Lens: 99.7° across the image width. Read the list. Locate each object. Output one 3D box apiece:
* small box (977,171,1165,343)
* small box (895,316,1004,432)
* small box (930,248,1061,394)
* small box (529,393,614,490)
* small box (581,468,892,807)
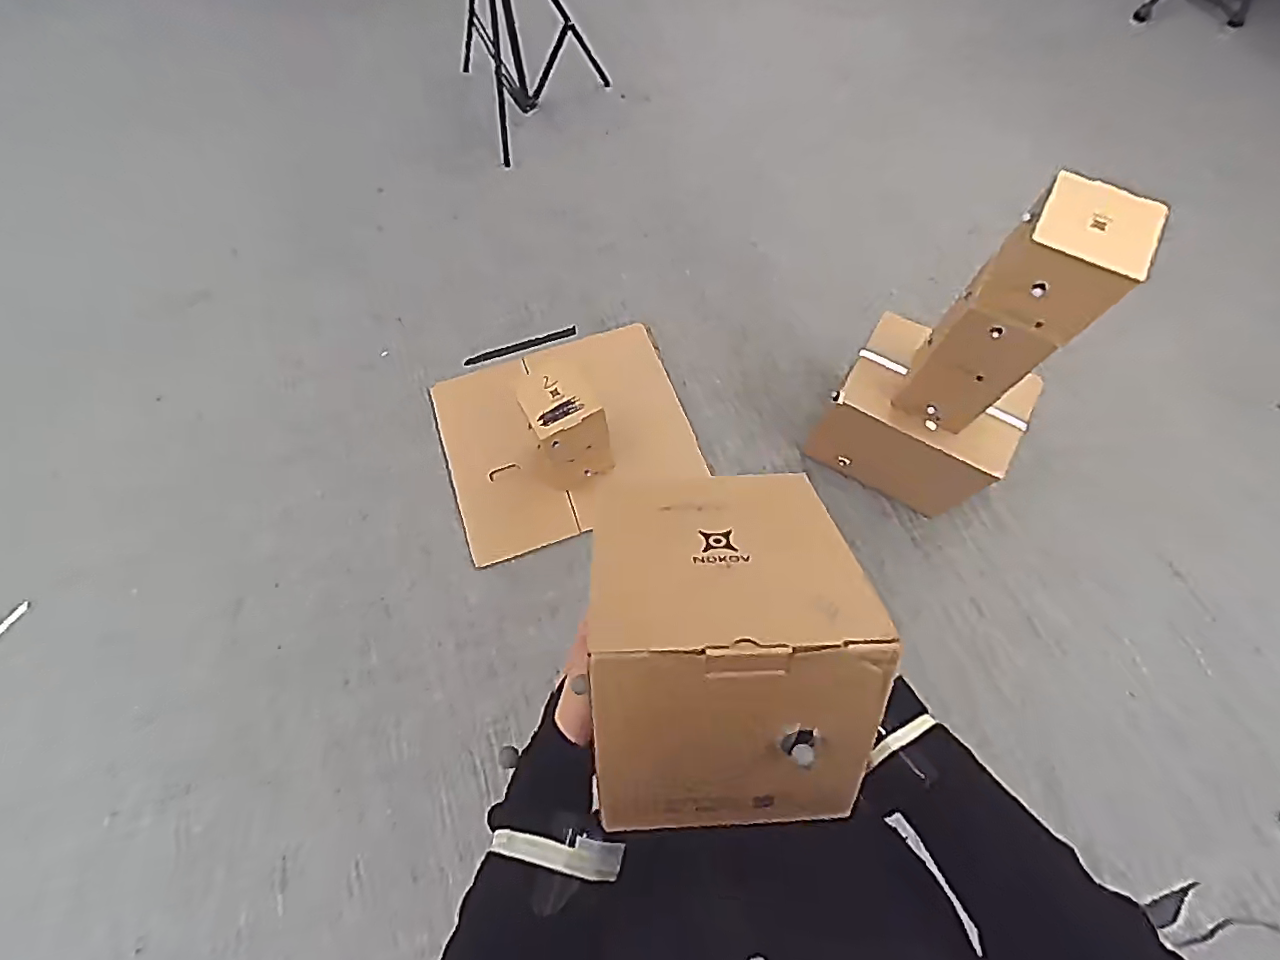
[{"bbox_3d":[0.702,-0.362,0.902,0.168,0.176,0.179,28,71,12],"label":"small box"},{"bbox_3d":[0.702,-0.240,1.206,0.168,0.176,0.179,29,72,12],"label":"small box"},{"bbox_3d":[0.702,-0.305,1.055,0.168,0.176,0.179,29,70,12],"label":"small box"},{"bbox_3d":[-0.183,-0.102,1.483,0.168,0.176,0.179,-27,70,-7],"label":"small box"},{"bbox_3d":[0.049,0.108,0.388,0.168,0.176,0.179,-2,30,-3],"label":"small box"}]
